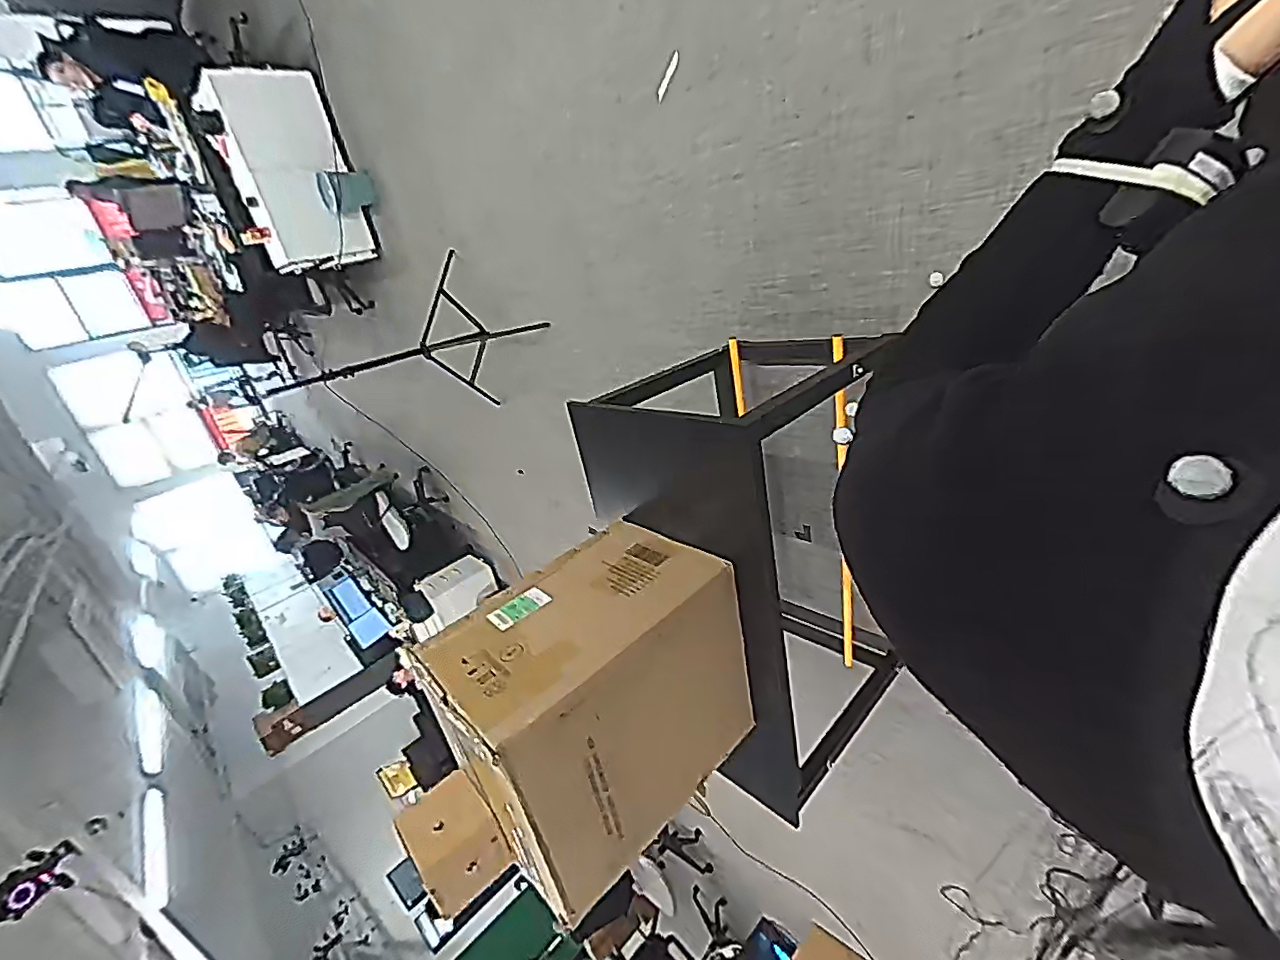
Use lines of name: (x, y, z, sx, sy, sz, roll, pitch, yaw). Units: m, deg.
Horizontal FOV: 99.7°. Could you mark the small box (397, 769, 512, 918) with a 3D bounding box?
small box: (-0.399, 0.786, 1.190, 0.179, 0.176, 0.168, 16, 126, 47)
